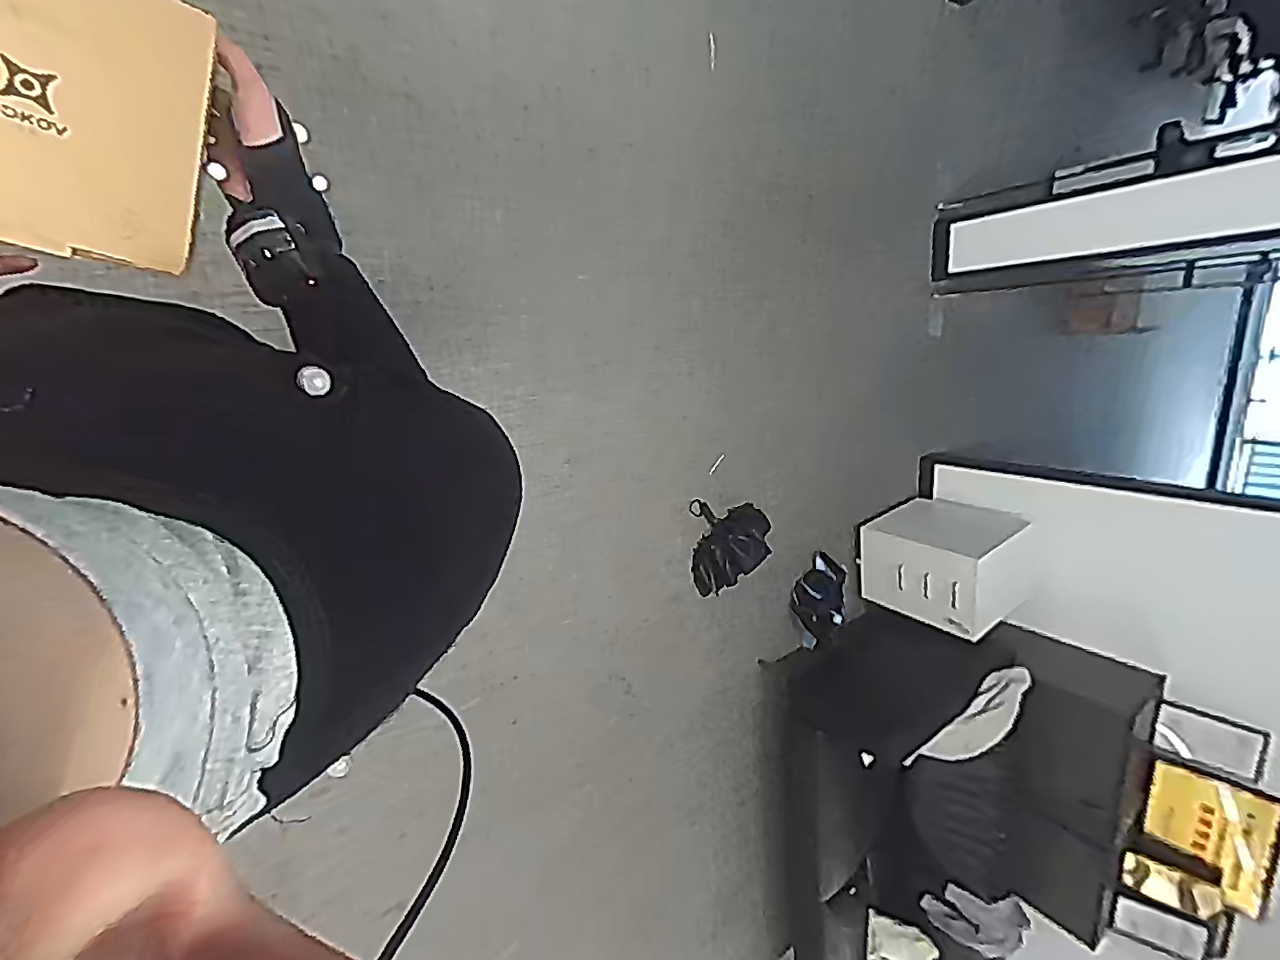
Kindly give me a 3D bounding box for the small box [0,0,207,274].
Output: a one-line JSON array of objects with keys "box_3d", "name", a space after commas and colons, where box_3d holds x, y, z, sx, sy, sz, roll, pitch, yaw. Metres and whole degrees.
[{"box_3d": [-0.422, -0.269, 0.383, 0.168, 0.176, 0.179, 6, 109, -42], "name": "small box"}]
